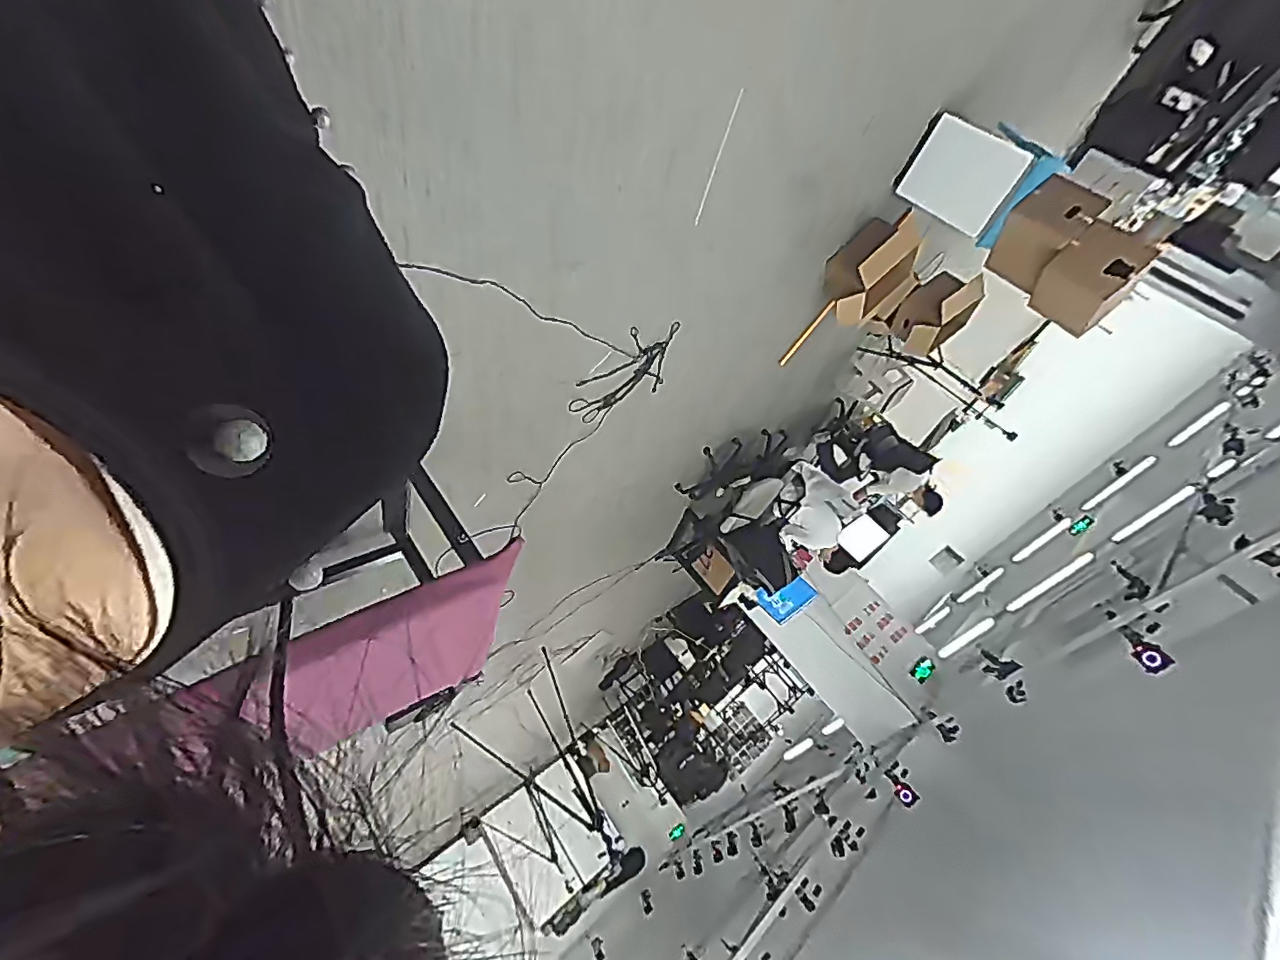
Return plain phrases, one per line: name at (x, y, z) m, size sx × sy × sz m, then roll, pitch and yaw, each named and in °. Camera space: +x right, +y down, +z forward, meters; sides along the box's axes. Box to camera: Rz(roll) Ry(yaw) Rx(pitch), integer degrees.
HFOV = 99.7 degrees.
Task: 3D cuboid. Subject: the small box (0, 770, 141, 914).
small box at (-1.164, 0.736, 1.099) m, size 0.179 × 0.176 × 0.168 m, roll -25°, pitch 151°, yaw -35°
